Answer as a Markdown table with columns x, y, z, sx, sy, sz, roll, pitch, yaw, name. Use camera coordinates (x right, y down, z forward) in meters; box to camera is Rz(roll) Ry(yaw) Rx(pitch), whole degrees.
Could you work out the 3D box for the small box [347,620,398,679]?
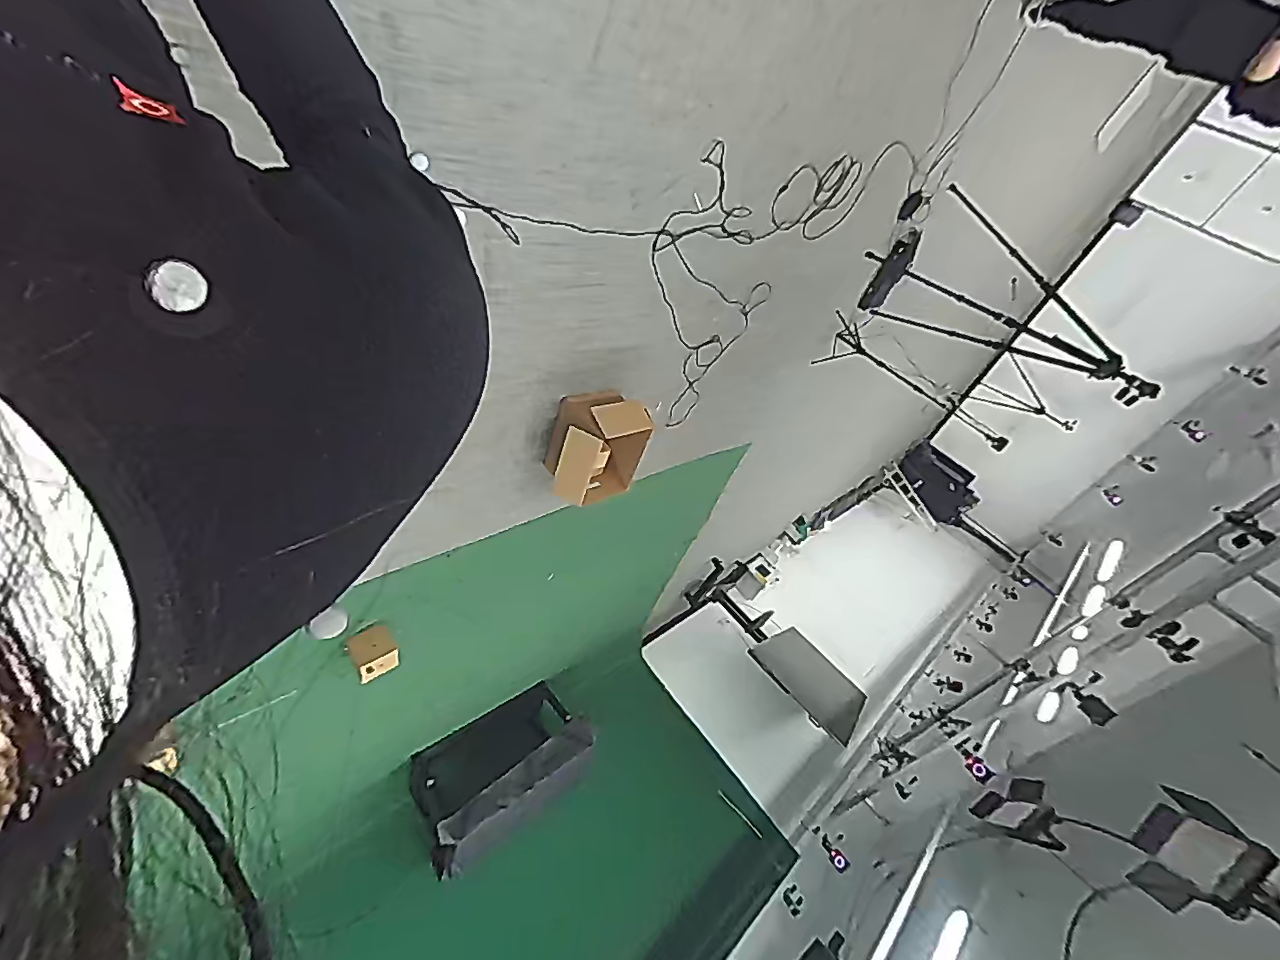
| x | y | z | sx | sy | sz | roll | pitch | yaw | name |
| --- | --- | --- | --- | --- | --- | --- | --- | --- | --- |
| -1.282 | 0.809 | 2.583 | 0.179 | 0.176 | 0.168 | -24 | 149 | -39 | small box |
